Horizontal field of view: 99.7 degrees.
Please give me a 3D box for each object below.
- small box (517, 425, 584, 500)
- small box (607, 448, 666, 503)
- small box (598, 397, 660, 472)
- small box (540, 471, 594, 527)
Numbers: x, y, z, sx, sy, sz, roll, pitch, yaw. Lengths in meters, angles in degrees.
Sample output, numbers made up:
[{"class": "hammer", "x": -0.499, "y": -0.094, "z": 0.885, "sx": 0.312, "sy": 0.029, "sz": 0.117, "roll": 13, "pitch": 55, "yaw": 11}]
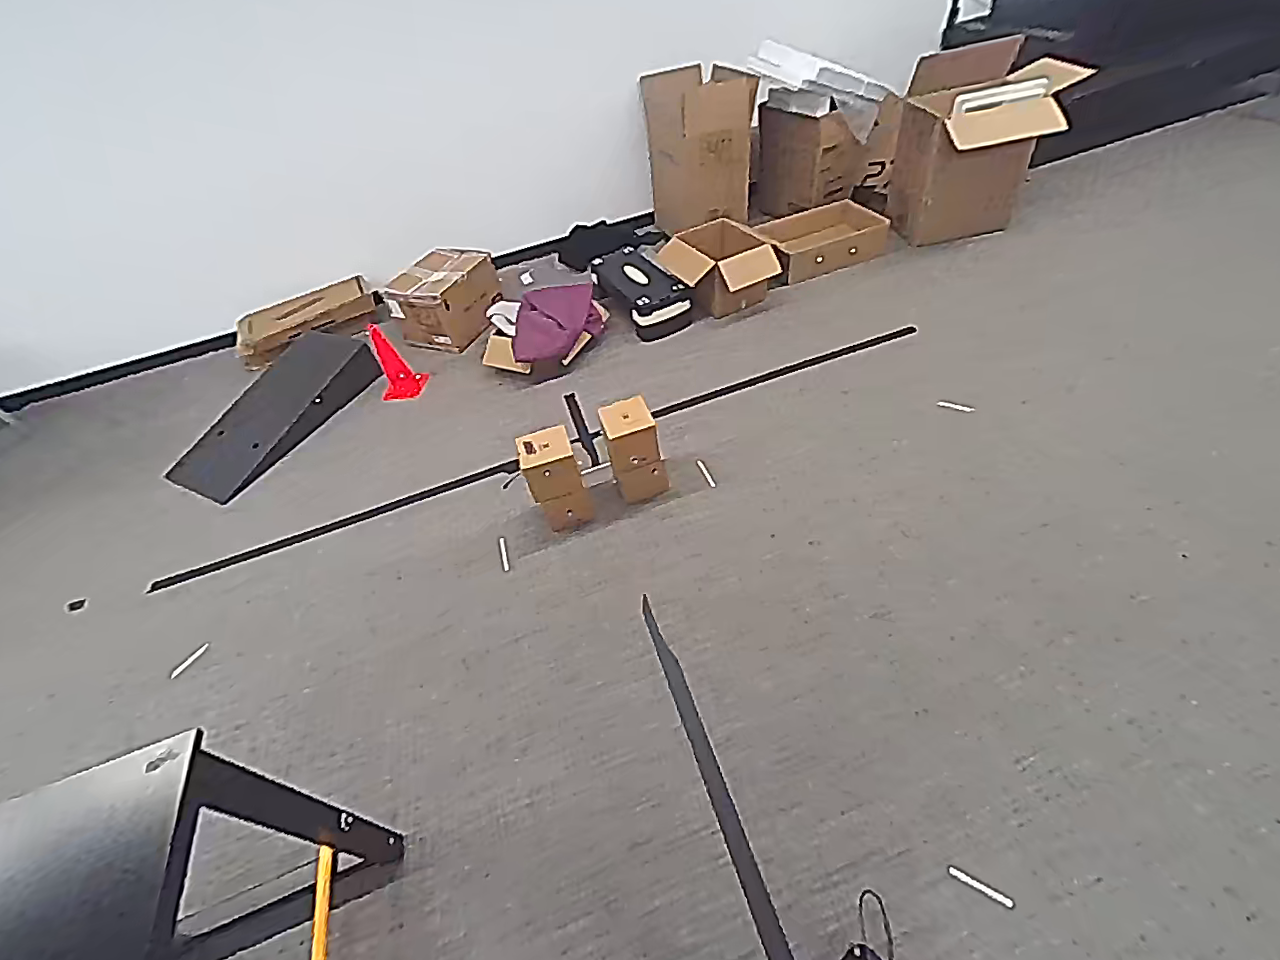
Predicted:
[{"class": "small box", "x": -0.307, "y": -0.056, "z": 1.852, "sx": 0.179, "sy": 0.176, "sz": 0.168, "roll": -17, "pitch": 46, "yaw": -4}, {"class": "small box", "x": -0.008, "y": -0.043, "z": 2.014, "sx": 0.179, "sy": 0.176, "sz": 0.168, "roll": -20, "pitch": 47, "yaw": -8}, {"class": "small box", "x": -0.038, "y": -0.160, "z": 1.904, "sx": 0.168, "sy": 0.176, "sz": 0.179, "roll": -19, "pitch": 48, "yaw": -6}, {"class": "small box", "x": -0.276, "y": 0.051, "z": 1.976, "sx": 0.168, "sy": 0.176, "sz": 0.179, "roll": -18, "pitch": 47, "yaw": -5}]
